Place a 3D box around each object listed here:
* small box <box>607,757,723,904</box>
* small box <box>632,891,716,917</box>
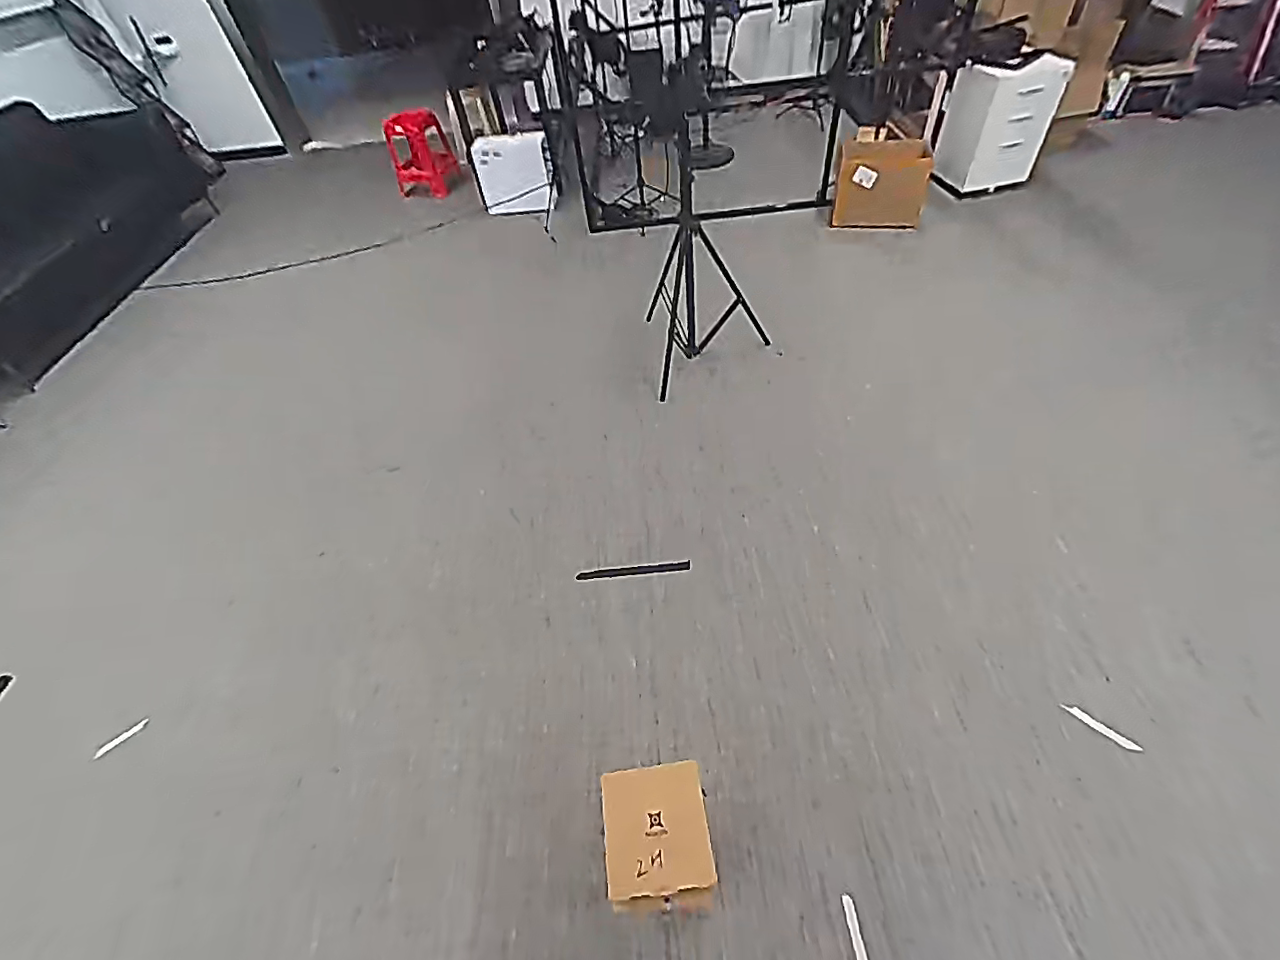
[{"bbox_3d":[0.040,0.593,0.913,0.168,0.176,0.179,-9,50,0],"label":"small box"},{"bbox_3d":[0.068,0.814,1.156,0.168,0.176,0.179,-6,49,2],"label":"small box"}]
